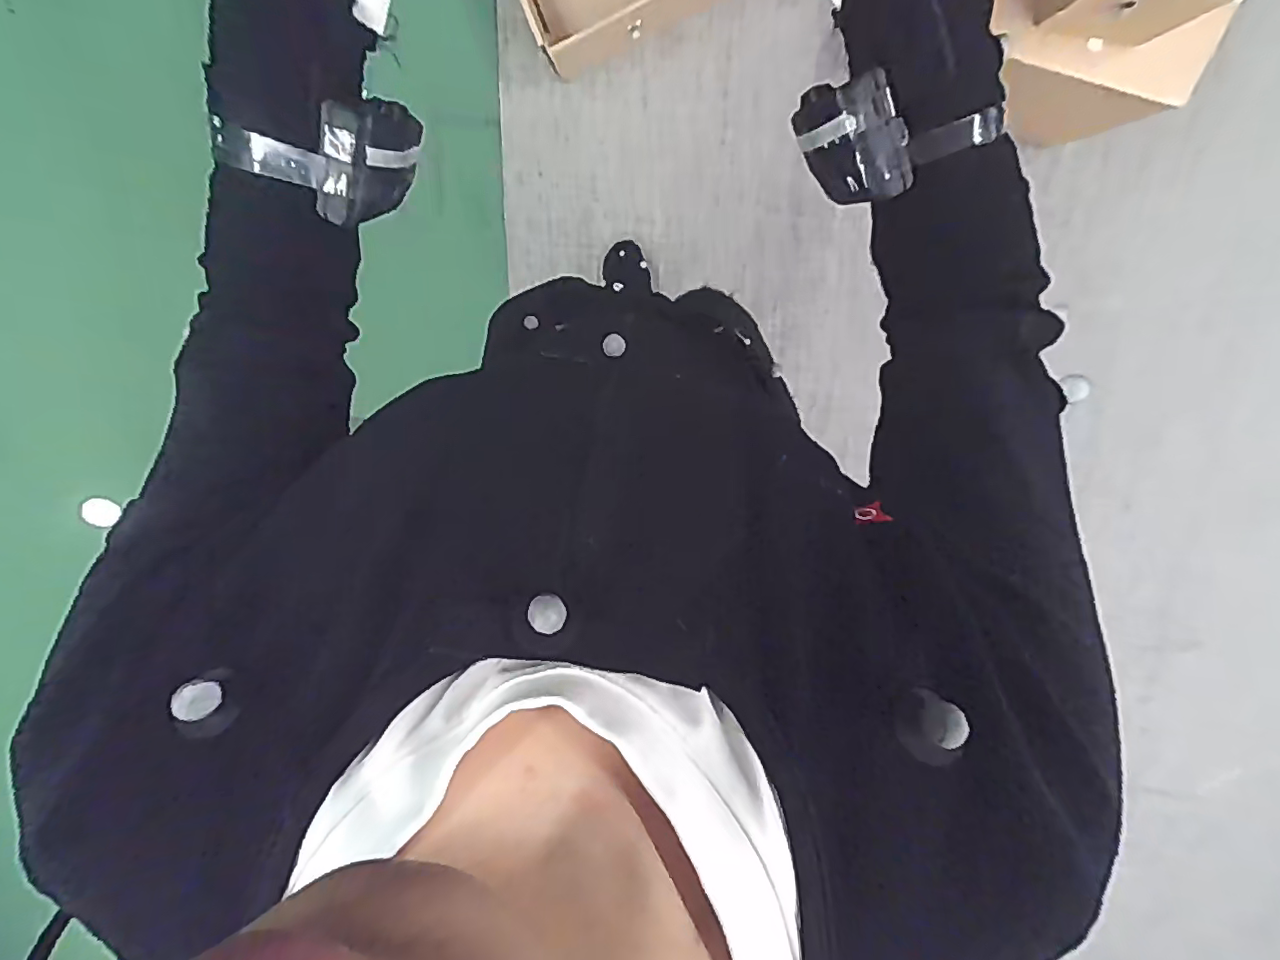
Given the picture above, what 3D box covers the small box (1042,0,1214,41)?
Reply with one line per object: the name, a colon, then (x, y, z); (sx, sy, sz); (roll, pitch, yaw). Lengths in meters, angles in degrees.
small box: (0.722, -0.754, 0.758); (0.179, 0.176, 0.168); (9, 111, 0)
